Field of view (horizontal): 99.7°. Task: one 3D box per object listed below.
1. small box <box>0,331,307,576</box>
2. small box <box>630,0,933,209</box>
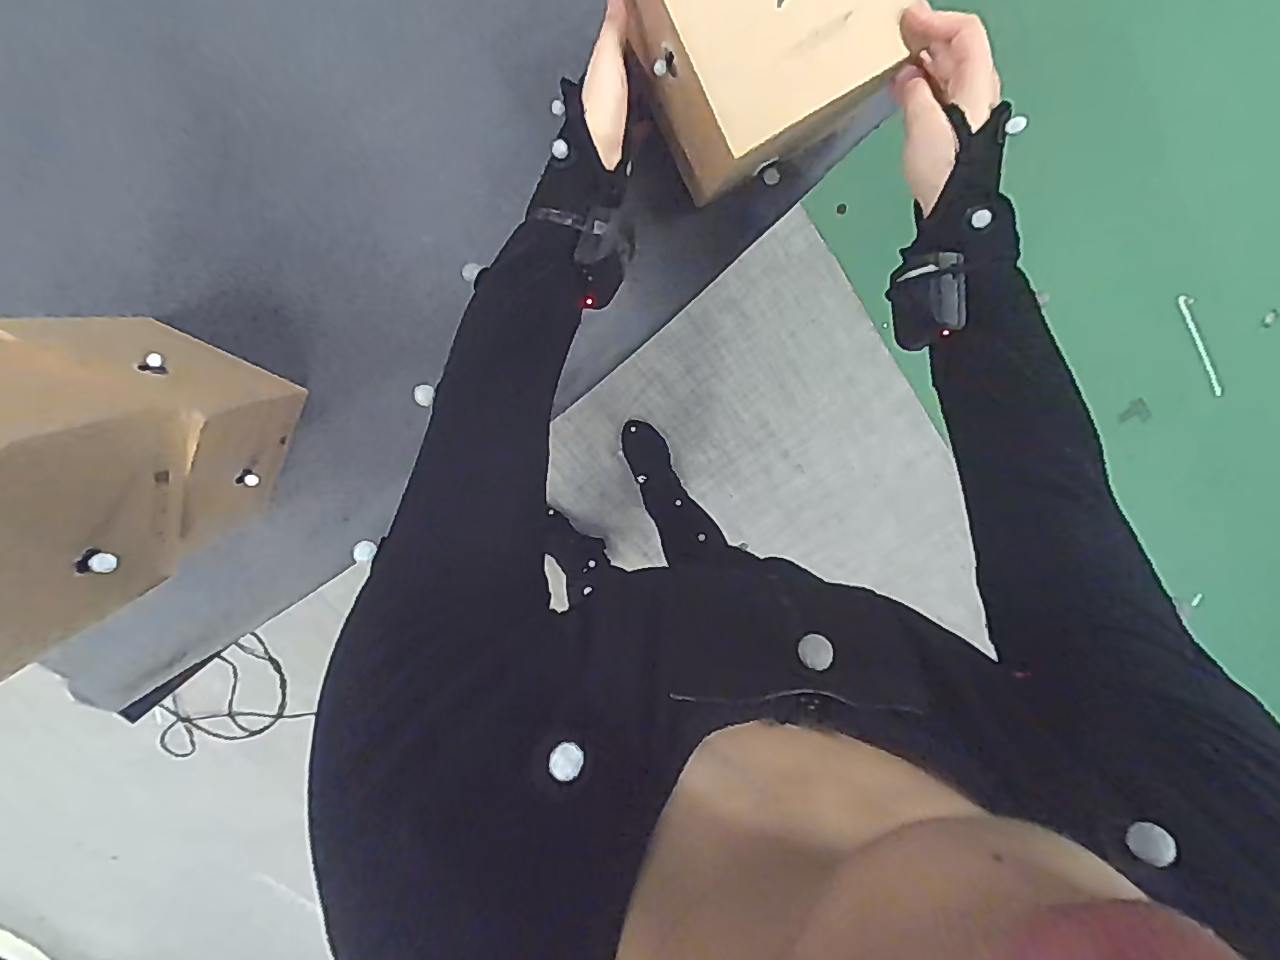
[{"bbox_3d":[-0.477,-0.039,0.539,0.179,0.176,0.168,26,103,-10],"label":"small box"},{"bbox_3d":[0.100,-0.367,0.460,0.168,0.176,0.179,-29,105,5],"label":"small box"}]
